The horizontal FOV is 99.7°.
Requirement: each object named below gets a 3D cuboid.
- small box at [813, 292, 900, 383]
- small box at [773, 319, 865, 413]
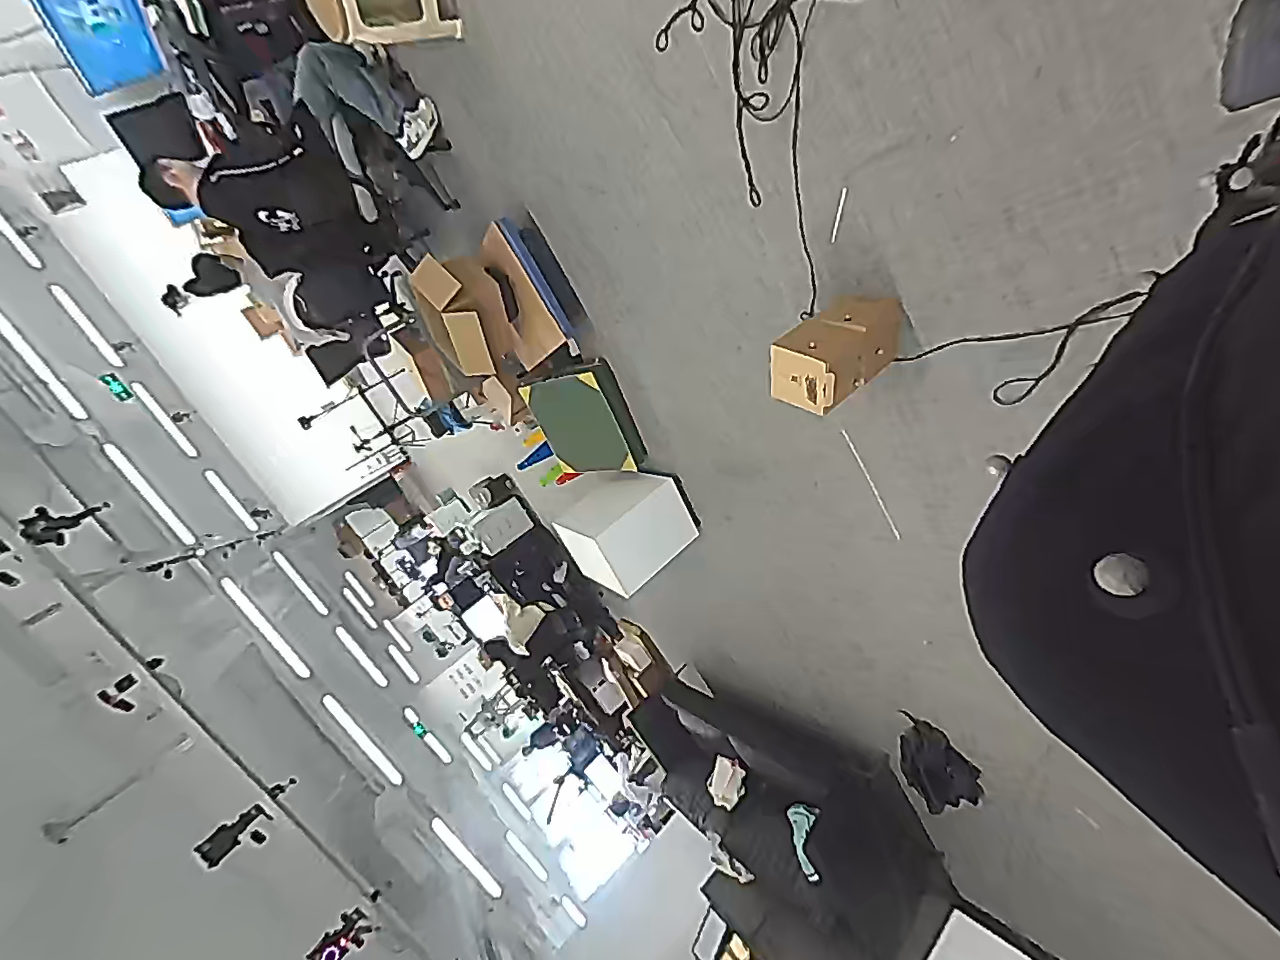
[{"bbox_3d":[0.604,-0.401,1.509,0.168,0.176,0.179,29,146,43],"label":"small box"},{"bbox_3d":[0.478,-0.312,1.451,0.179,0.176,0.168,33,148,39],"label":"small box"}]
